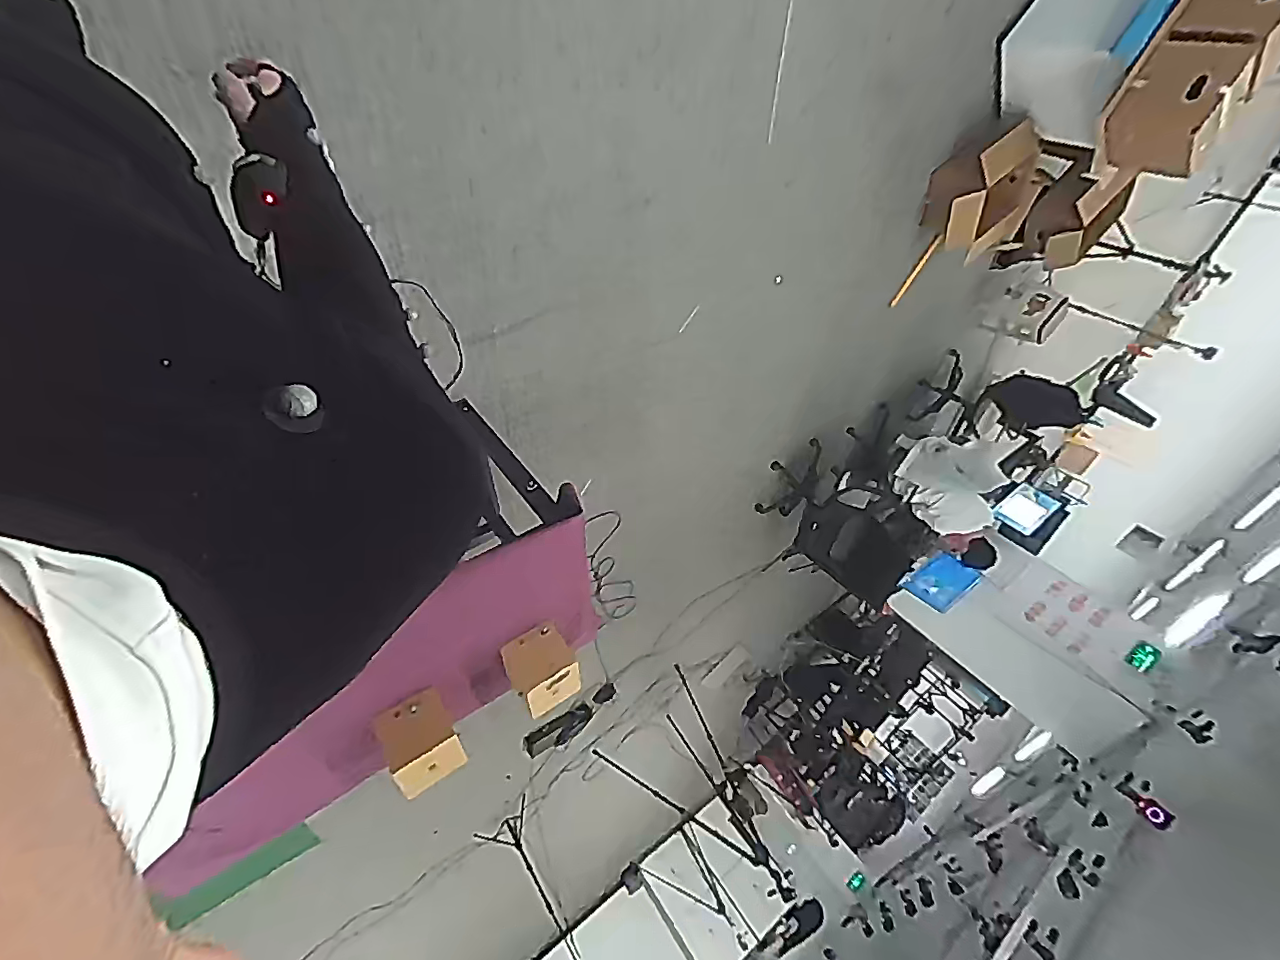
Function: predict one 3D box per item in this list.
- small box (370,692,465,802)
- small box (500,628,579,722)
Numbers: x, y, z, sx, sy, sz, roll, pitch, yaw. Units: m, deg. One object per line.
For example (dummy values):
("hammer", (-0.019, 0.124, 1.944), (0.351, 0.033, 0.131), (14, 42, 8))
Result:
("small box", (-0.584, 0.698, 1.425), (0.168, 0.176, 0.179), (-25, 139, -29))
("small box", (-0.296, 0.565, 1.592), (0.168, 0.176, 0.179), (-25, 140, -27))
